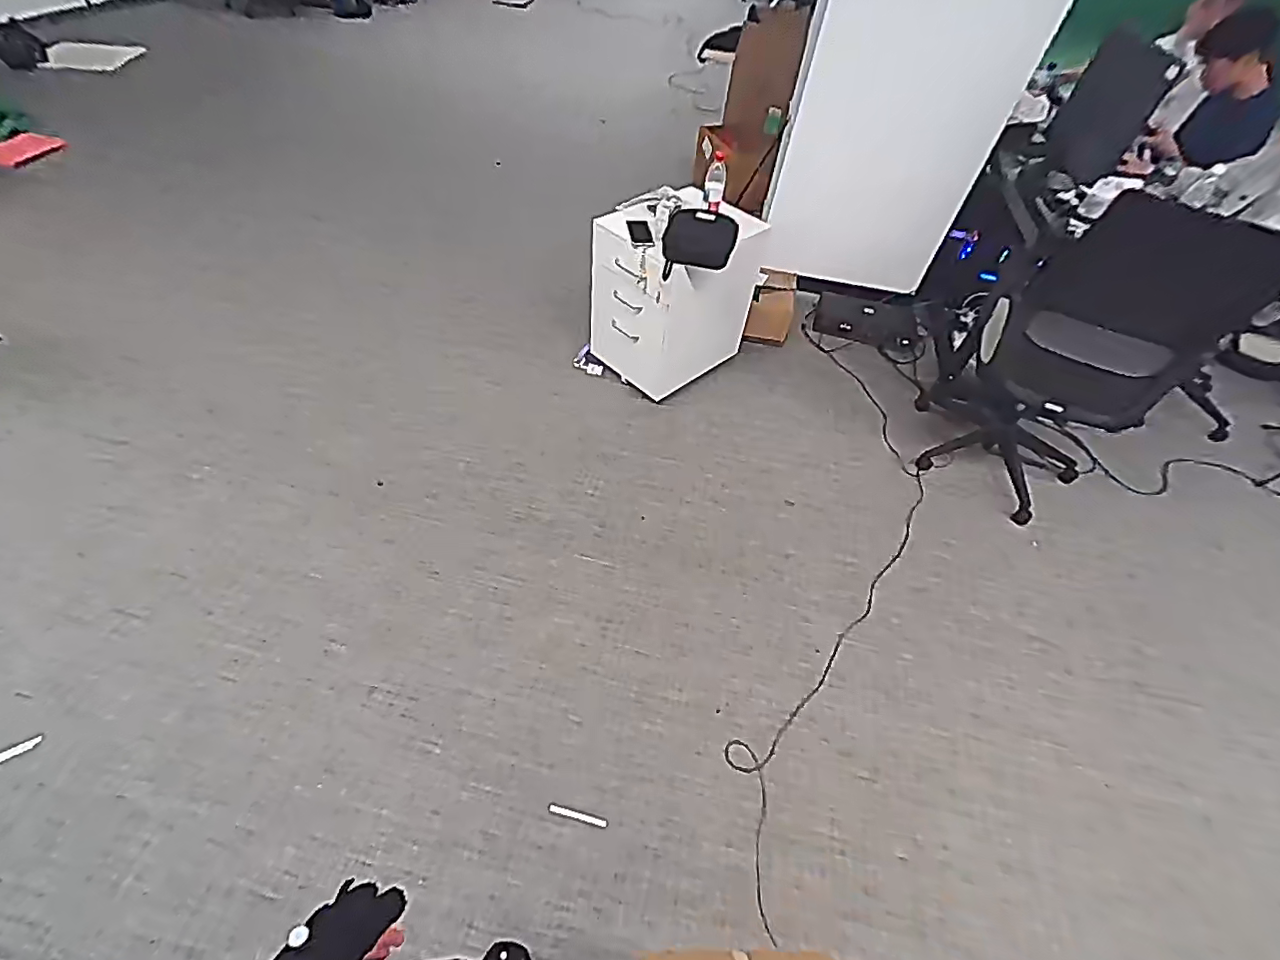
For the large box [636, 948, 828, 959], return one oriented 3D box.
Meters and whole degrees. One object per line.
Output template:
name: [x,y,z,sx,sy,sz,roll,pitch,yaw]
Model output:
large box: [0.165,0.832,0.620,0.320,0.408,0.320,5,73,-7]
